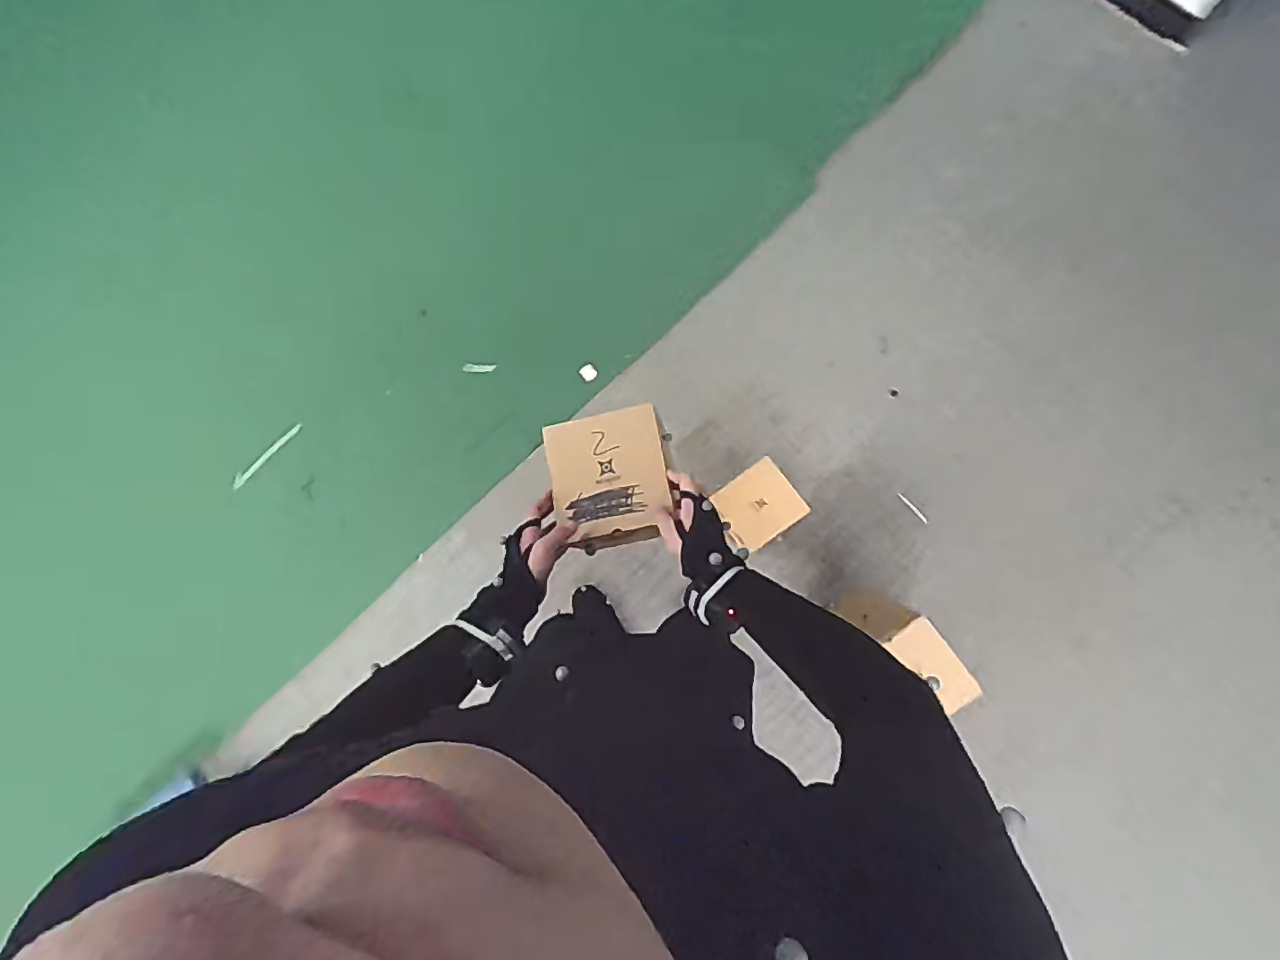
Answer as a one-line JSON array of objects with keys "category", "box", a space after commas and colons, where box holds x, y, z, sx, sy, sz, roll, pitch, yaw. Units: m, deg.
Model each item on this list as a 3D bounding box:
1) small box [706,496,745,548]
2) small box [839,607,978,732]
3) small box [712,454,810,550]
[{"category": "small box", "box": [0.308, 0.076, 1.535, 0.179, 0.176, 0.168, -37, 81, 4]}, {"category": "small box", "box": [0.542, 0.379, 1.123, 0.168, 0.176, 0.179, -35, 81, 5]}, {"category": "small box", "box": [0.295, 0.057, 1.358, 0.179, 0.176, 0.168, -37, 81, 5]}]
